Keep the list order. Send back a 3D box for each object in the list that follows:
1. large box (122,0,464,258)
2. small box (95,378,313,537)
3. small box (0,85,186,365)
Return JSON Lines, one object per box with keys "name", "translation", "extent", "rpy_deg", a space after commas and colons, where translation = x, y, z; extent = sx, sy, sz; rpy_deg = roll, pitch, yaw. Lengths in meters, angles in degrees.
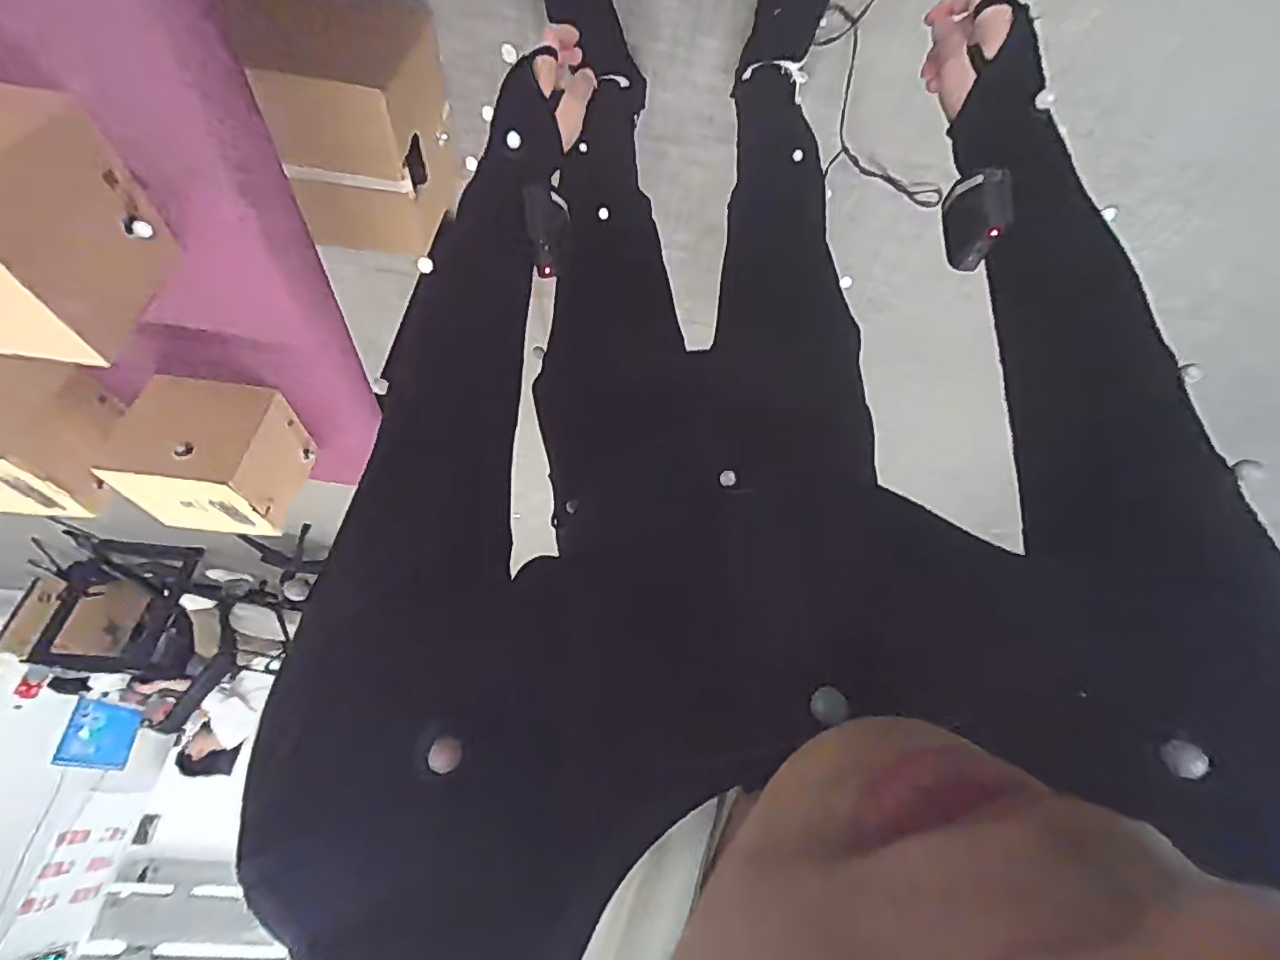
{"name": "large box", "translation": [-0.595, -0.673, 1.030], "extent": [0.408, 0.320, 0.320], "rpy_deg": [7, 148, -4]}
{"name": "small box", "translation": [-0.625, -0.032, 0.810], "extent": [0.179, 0.176, 0.168], "rpy_deg": [7, 148, -4]}
{"name": "small box", "translation": [-0.577, -0.231, 0.485], "extent": [0.179, 0.176, 0.168], "rpy_deg": [7, 149, -4]}
